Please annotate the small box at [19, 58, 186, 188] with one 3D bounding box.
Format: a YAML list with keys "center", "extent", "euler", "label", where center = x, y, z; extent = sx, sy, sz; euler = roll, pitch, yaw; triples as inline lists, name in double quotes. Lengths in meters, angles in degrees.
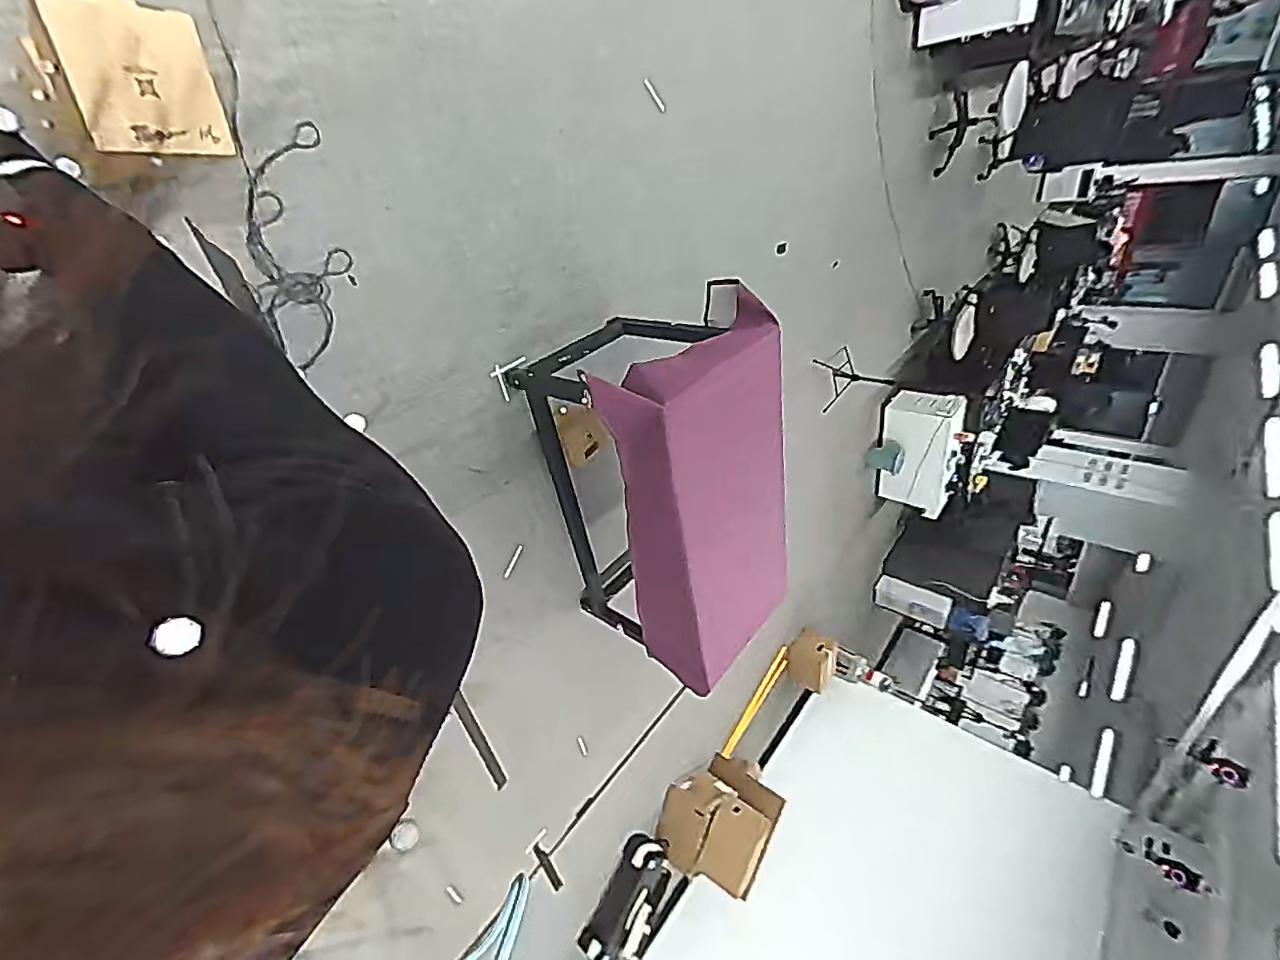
- center: [-0.984, -0.655, 0.999]
  extent: [0.168, 0.176, 0.179]
  euler: [-36, 130, -35]
  label: "small box"

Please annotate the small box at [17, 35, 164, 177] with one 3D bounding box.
- center: [-0.864, -0.613, 0.899]
  extent: [0.179, 0.176, 0.168]
  euler: [-35, 129, -36]
  label: "small box"

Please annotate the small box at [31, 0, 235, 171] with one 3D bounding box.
- center: [-0.744, -0.569, 0.796]
  extent: [0.168, 0.176, 0.179]
  euler: [-28, 124, -41]
  label: "small box"
